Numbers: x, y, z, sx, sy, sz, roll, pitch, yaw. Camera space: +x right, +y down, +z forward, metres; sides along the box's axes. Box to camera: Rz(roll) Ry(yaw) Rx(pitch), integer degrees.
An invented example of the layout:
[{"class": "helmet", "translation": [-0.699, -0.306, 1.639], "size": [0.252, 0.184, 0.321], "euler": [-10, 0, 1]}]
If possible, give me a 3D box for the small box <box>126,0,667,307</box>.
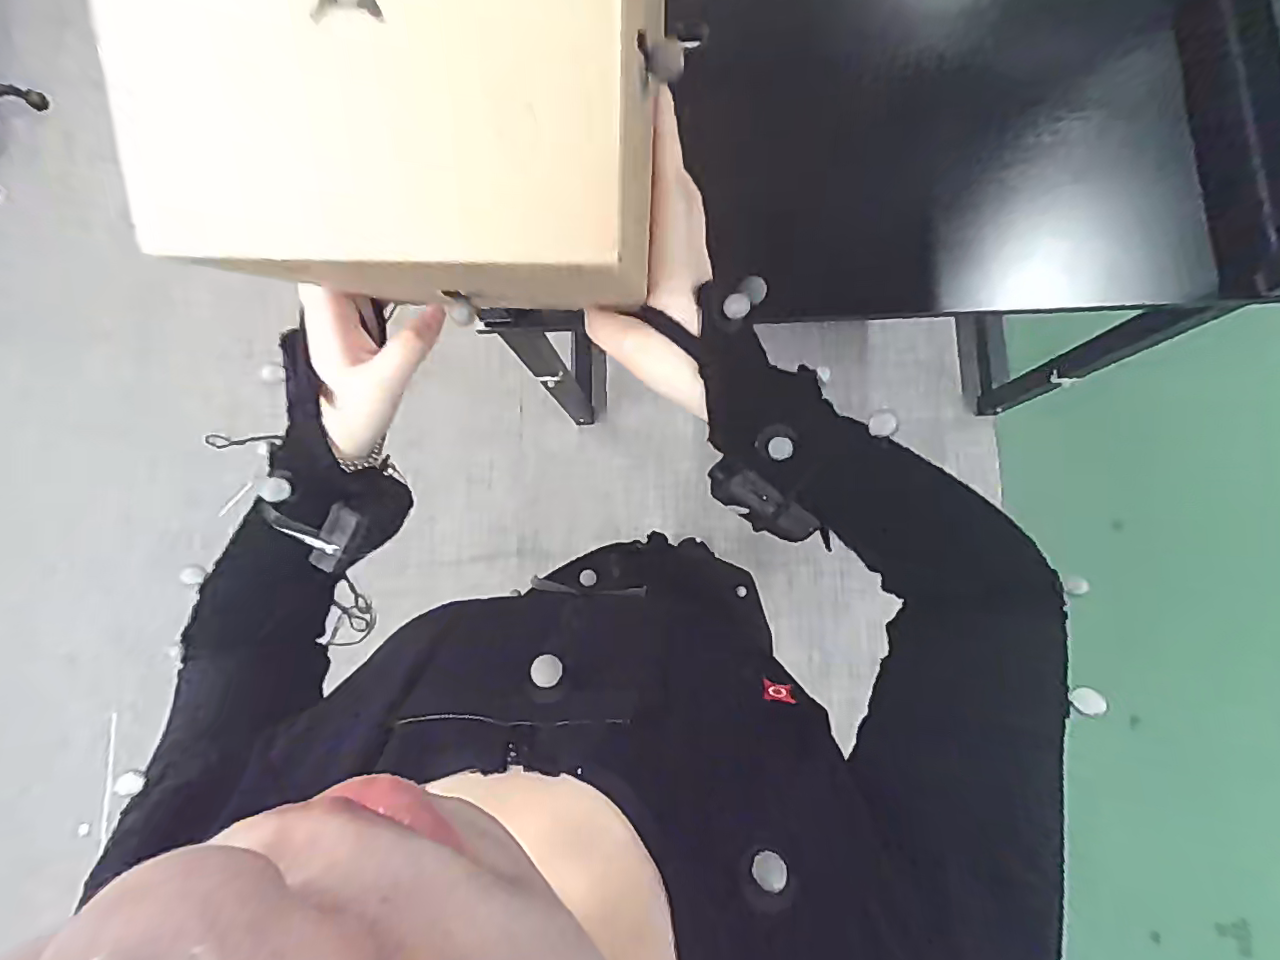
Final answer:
[{"class": "small box", "translation": [-0.075, -0.174, 0.243], "size": [0.168, 0.176, 0.179], "euler": [3, 104, 4]}]
